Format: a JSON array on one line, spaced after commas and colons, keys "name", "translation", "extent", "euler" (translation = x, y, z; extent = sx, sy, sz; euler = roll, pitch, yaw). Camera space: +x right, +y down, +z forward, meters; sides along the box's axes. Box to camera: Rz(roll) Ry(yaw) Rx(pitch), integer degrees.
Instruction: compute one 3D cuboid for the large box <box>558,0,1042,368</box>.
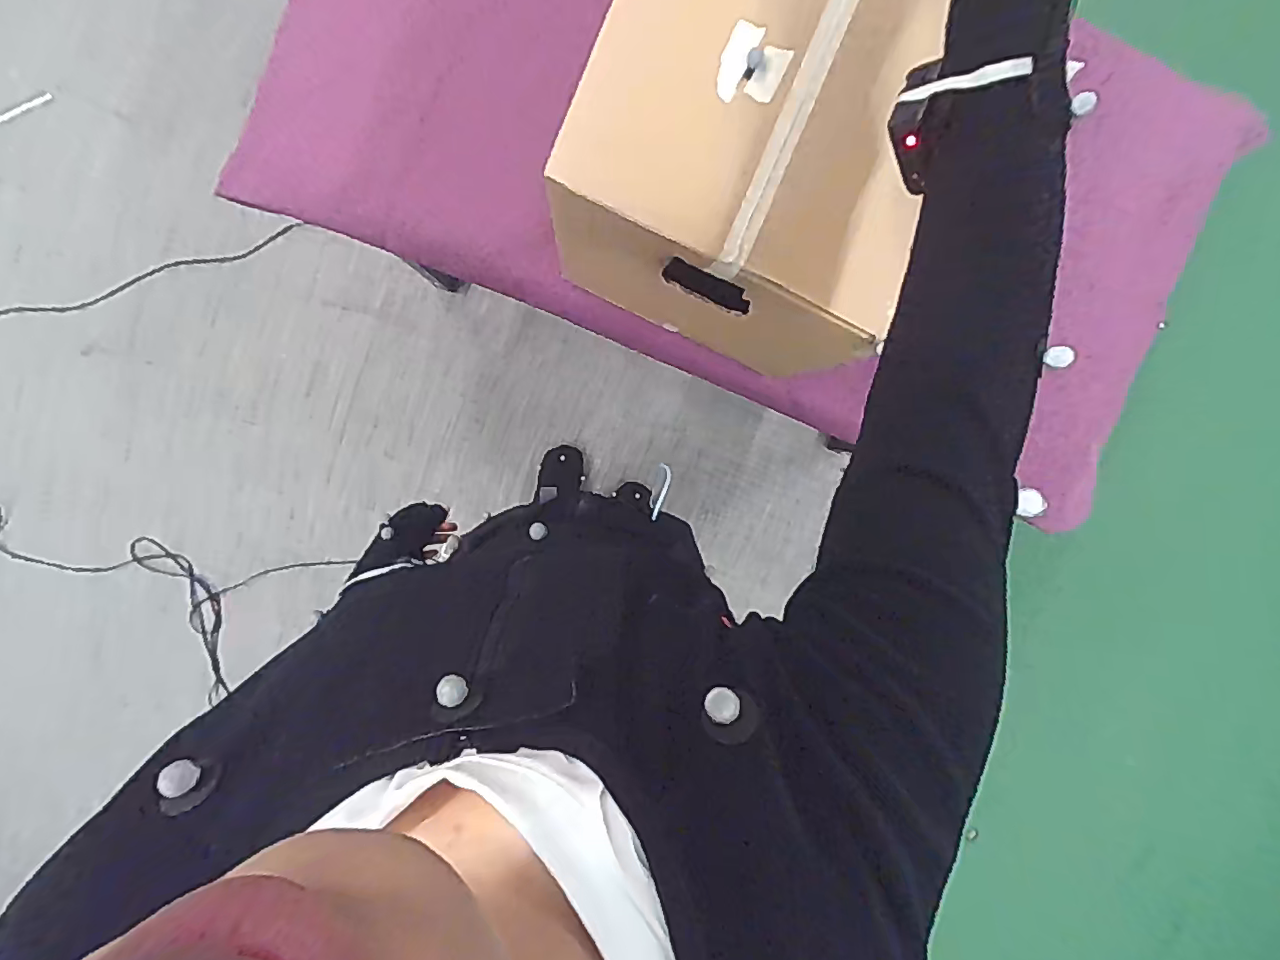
[{"name": "large box", "translation": [0.133, -0.374, 0.579], "extent": [0.320, 0.320, 0.408], "euler": [24, 95, -8]}]
